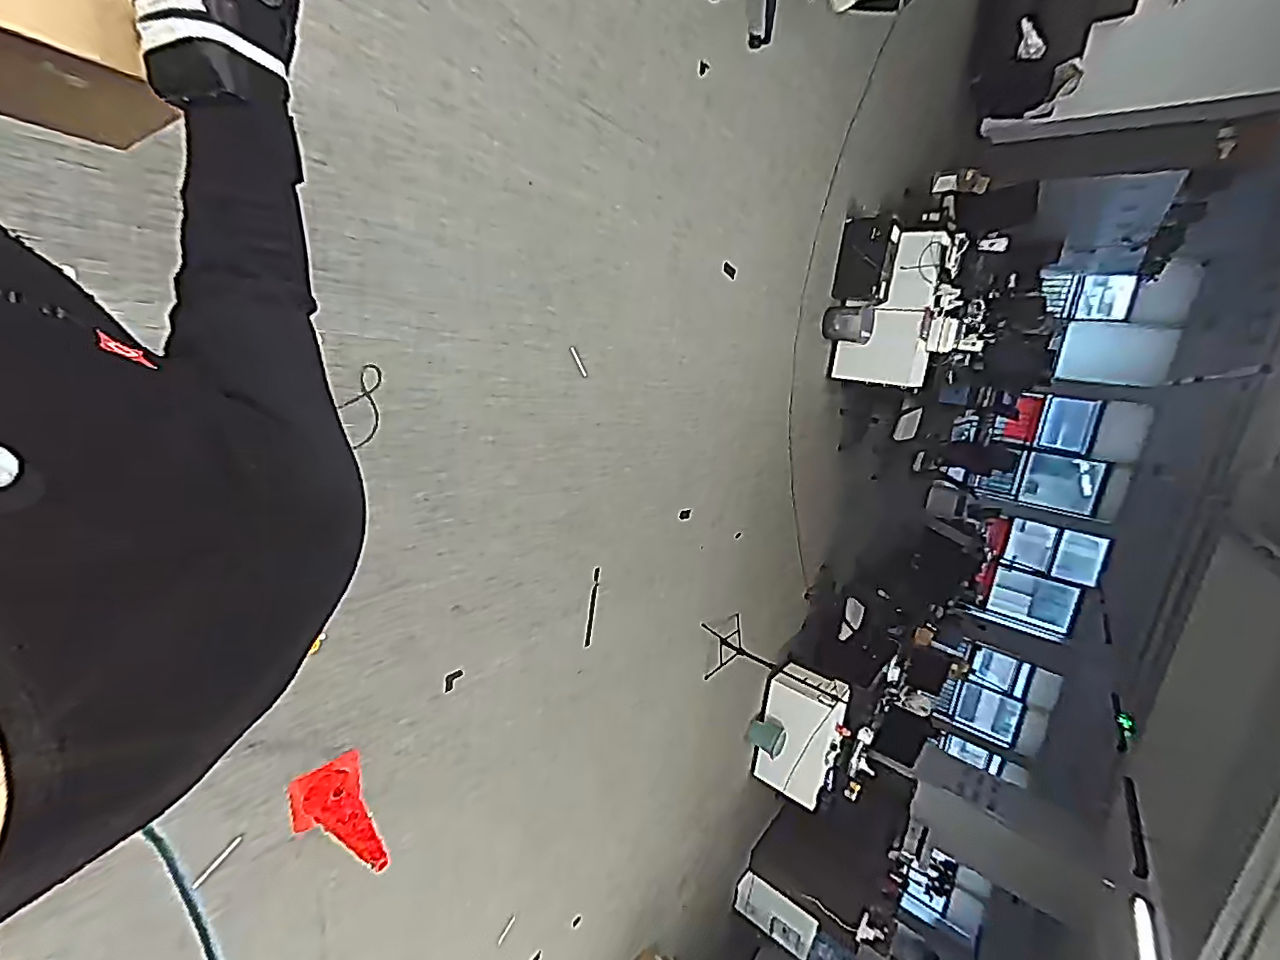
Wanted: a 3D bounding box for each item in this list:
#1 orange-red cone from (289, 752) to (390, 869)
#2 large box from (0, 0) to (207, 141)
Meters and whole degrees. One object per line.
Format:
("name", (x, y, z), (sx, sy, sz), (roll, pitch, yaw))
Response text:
("orange-red cone", (-0.834, 0.998, 1.565), (0.198, 0.360, 0.199), (-14, 113, -51))
("large box", (-0.543, -0.451, 0.303), (0.408, 0.320, 0.320), (-8, 111, -52))
